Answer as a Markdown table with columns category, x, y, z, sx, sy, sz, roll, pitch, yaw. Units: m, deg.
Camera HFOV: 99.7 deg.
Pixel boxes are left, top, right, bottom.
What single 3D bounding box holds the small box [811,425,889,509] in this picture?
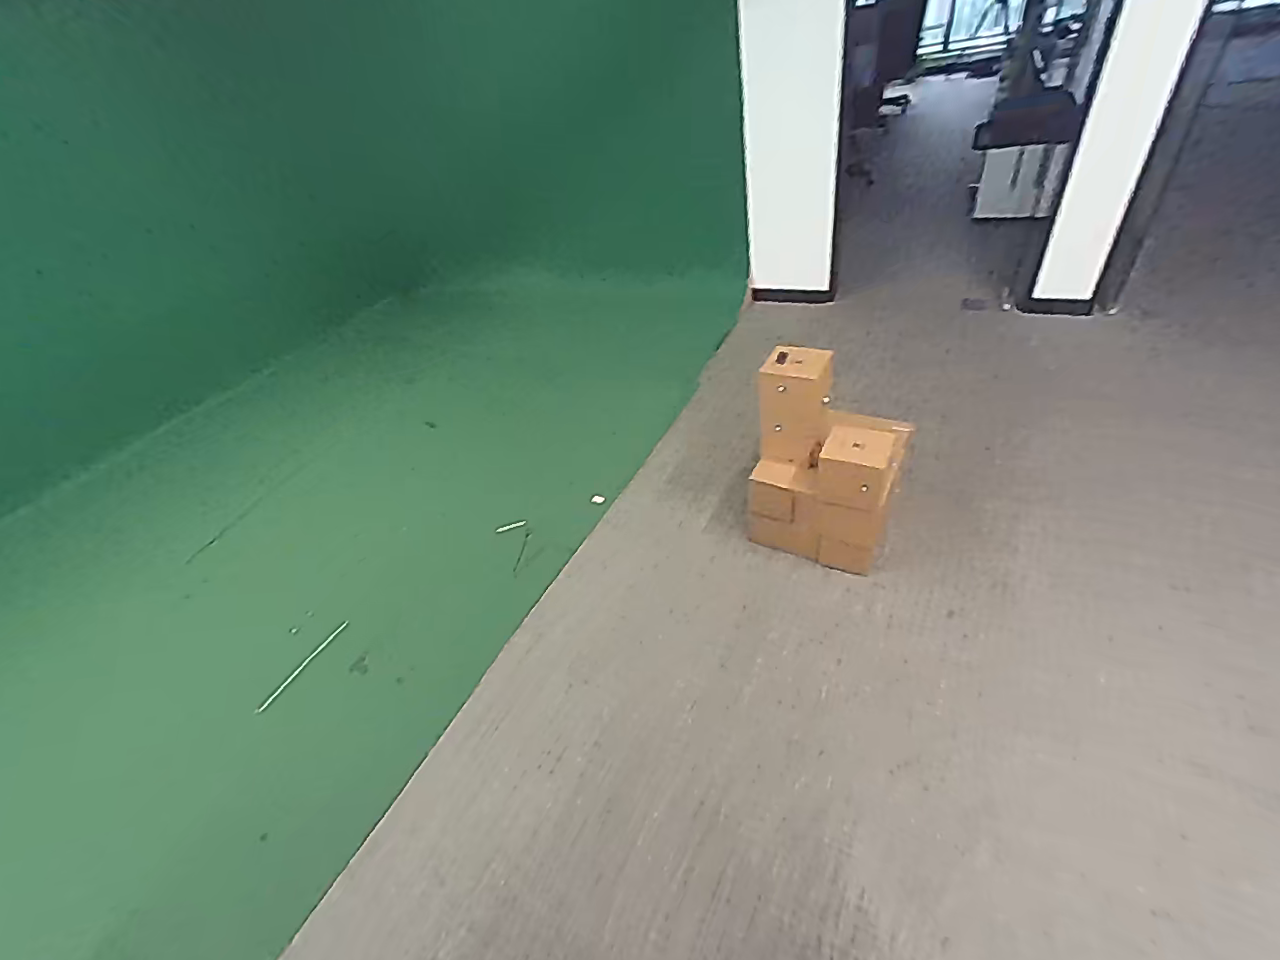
| category | x | y | z | sx | sy | sz | roll | pitch | yaw |
| --- | --- | --- | --- | --- | --- | --- | --- | --- | --- |
| small box | 0.611 | -0.036 | 1.582 | 0.179 | 0.176 | 0.168 | 13 | 46 | 27 |

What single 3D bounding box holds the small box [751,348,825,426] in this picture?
| category | x | y | z | sx | sy | sz | roll | pitch | yaw |
| --- | --- | --- | --- | --- | --- | --- | --- | --- | --- |
| small box | 0.453 | -0.285 | 1.656 | 0.179 | 0.176 | 0.168 | 14 | 47 | 28 |

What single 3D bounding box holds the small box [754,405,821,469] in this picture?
| category | x | y | z | sx | sy | sz | roll | pitch | yaw |
| --- | --- | --- | --- | --- | --- | --- | --- | --- | --- |
| small box | 0.480 | -0.164 | 1.765 | 0.168 | 0.176 | 0.179 | 14 | 46 | 29 |
